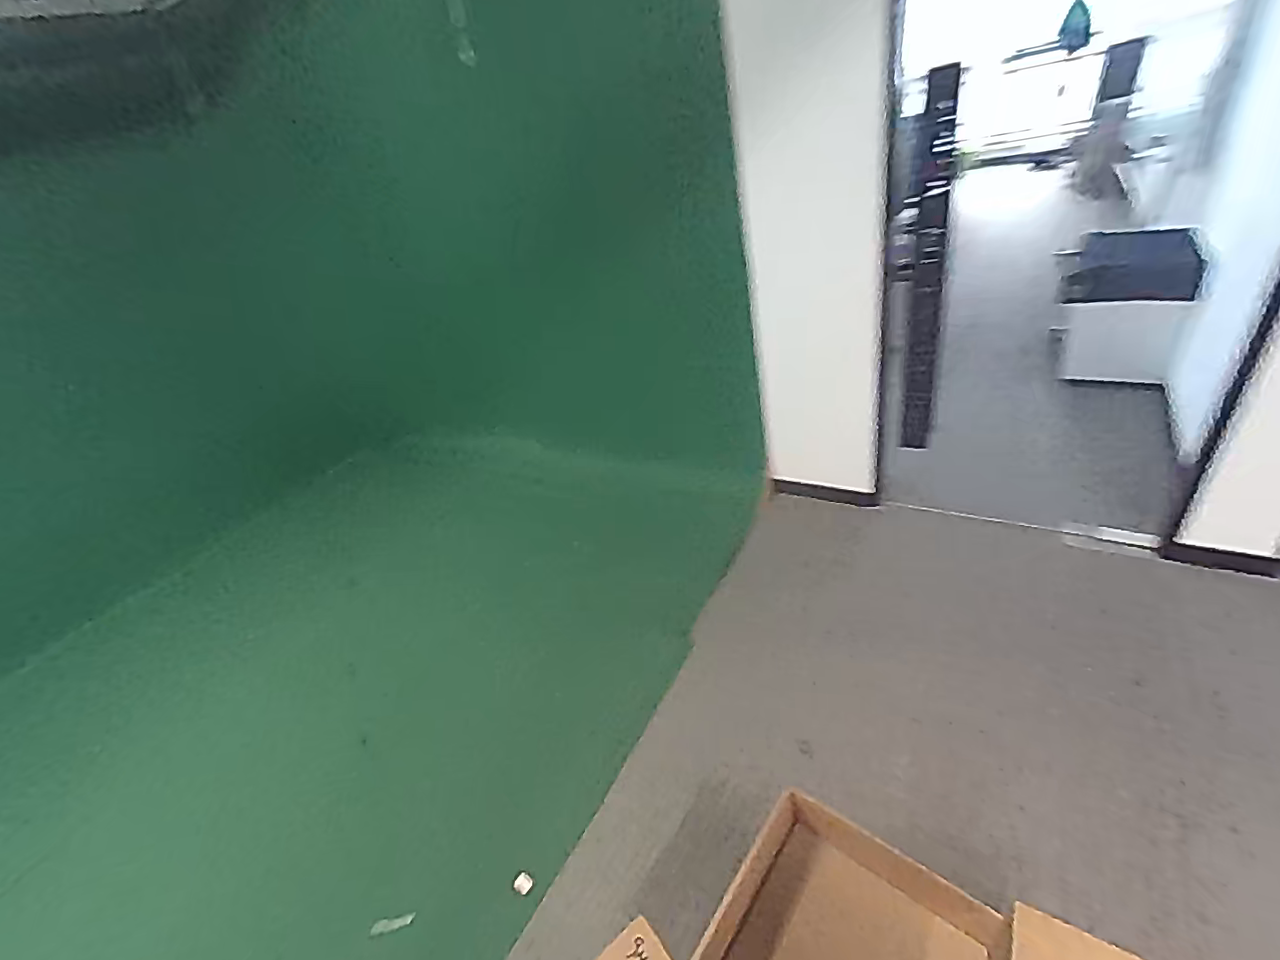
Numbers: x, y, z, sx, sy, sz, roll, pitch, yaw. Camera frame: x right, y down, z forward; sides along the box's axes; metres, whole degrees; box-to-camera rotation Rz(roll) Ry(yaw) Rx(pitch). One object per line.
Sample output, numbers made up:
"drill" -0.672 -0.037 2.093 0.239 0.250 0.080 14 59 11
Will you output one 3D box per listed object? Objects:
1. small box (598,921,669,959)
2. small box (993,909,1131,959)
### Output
"small box" -0.002 0.654 0.590 0.179 0.176 0.168 -34 35 -22
"small box" 0.443 0.575 0.520 0.179 0.176 0.168 11 40 31
